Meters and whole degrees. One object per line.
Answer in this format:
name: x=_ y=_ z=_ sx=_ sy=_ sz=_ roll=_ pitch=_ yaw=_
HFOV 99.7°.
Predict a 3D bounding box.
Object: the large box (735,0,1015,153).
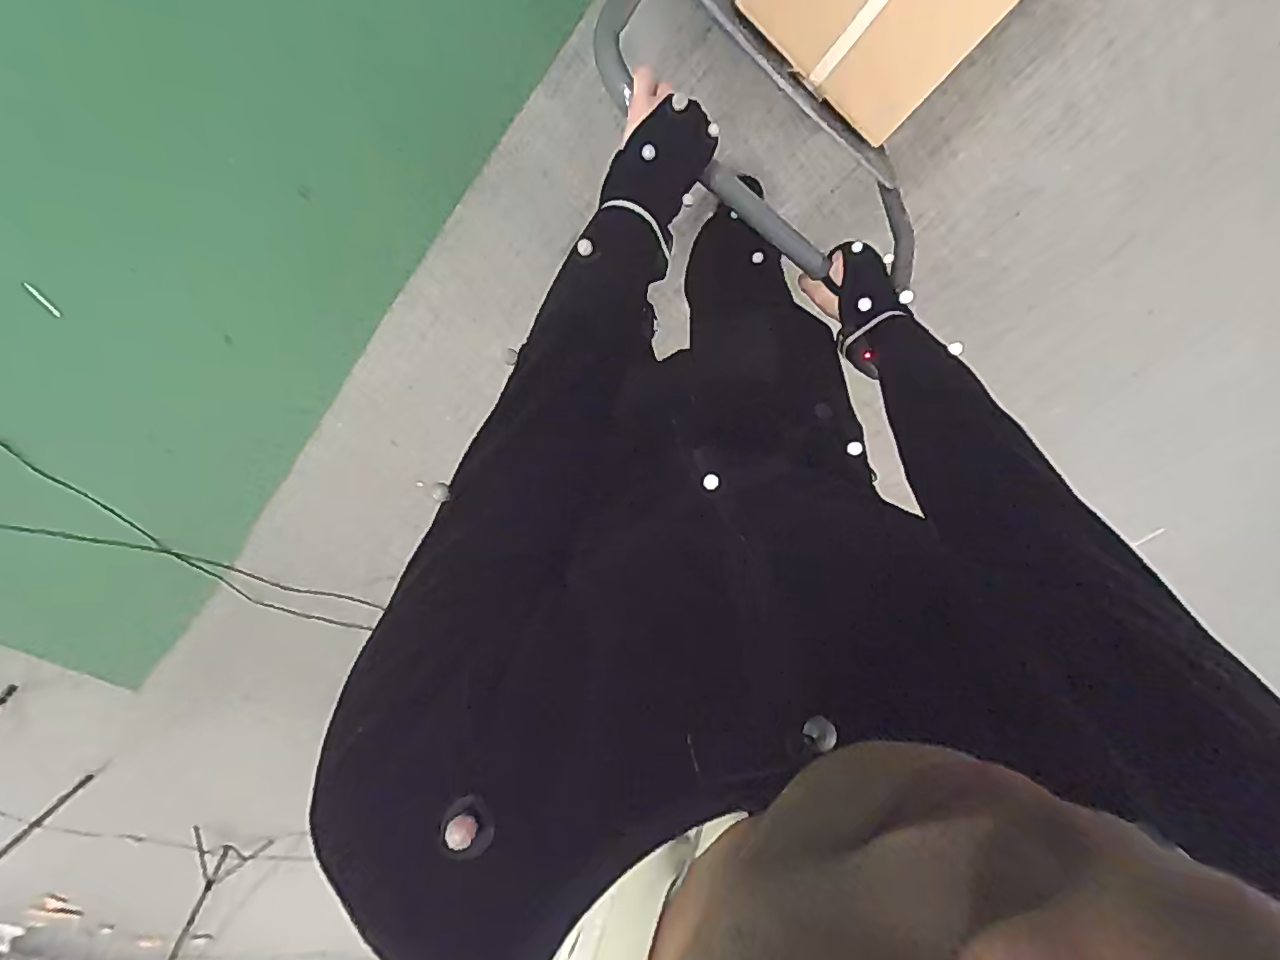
large box: x=0.390 y=-0.822 z=0.825 sx=0.320 sy=0.320 sz=0.408 roll=29 pitch=134 yaw=-22
